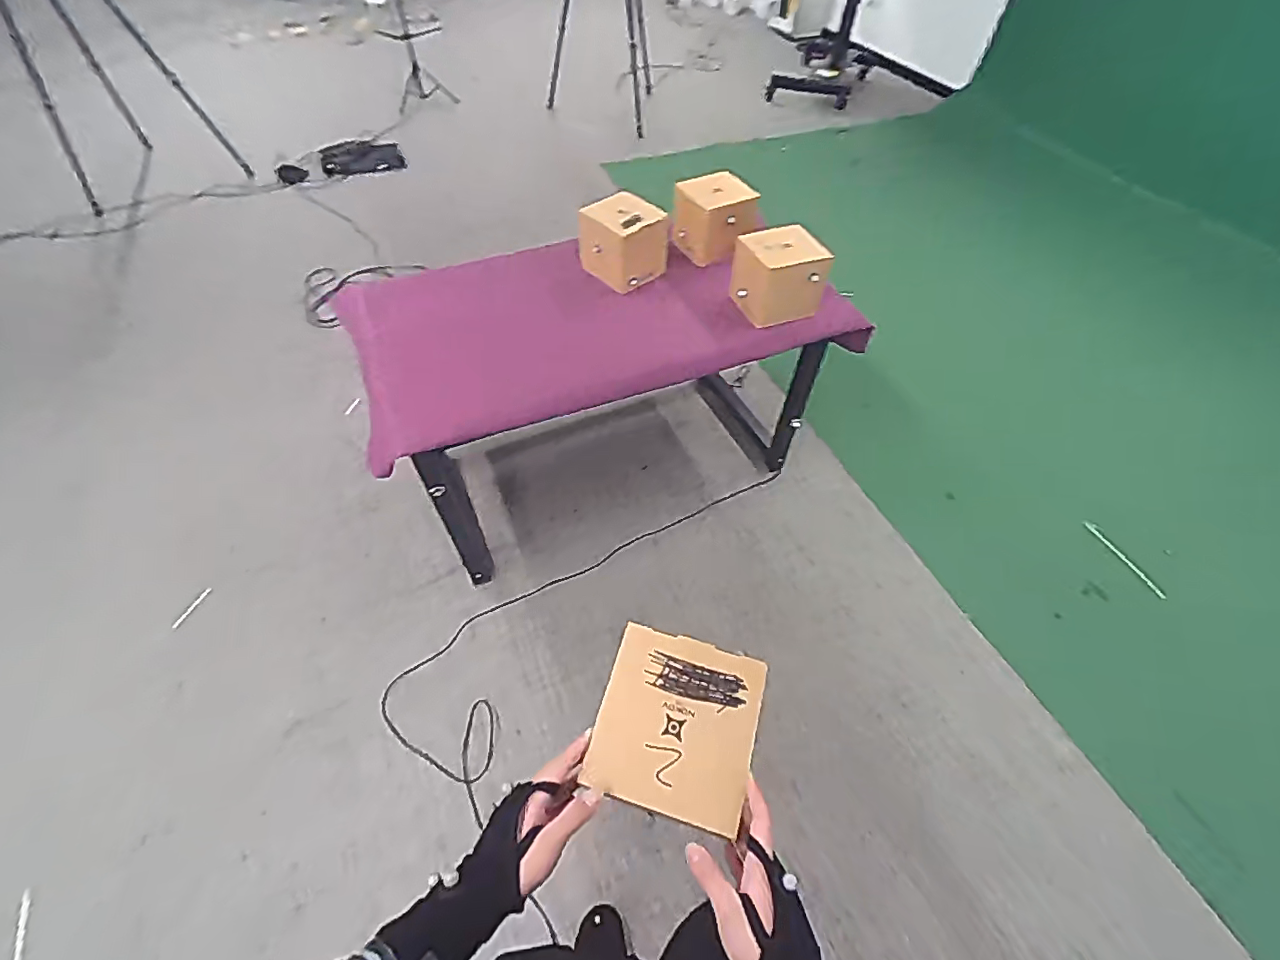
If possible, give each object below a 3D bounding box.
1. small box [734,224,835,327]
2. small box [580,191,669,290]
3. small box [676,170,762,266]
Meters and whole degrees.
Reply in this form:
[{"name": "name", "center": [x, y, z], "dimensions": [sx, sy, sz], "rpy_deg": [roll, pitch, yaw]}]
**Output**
[{"name": "small box", "center": [0.356, -0.516, 1.370], "dimensions": [0.179, 0.176, 0.168], "rpy_deg": [-16, 54, -12]}, {"name": "small box", "center": [-0.040, -0.638, 1.456], "dimensions": [0.168, 0.176, 0.179], "rpy_deg": [-36, 62, -25]}, {"name": "small box", "center": [0.216, -0.745, 1.542], "dimensions": [0.179, 0.176, 0.168], "rpy_deg": [-24, 58, -16]}]
